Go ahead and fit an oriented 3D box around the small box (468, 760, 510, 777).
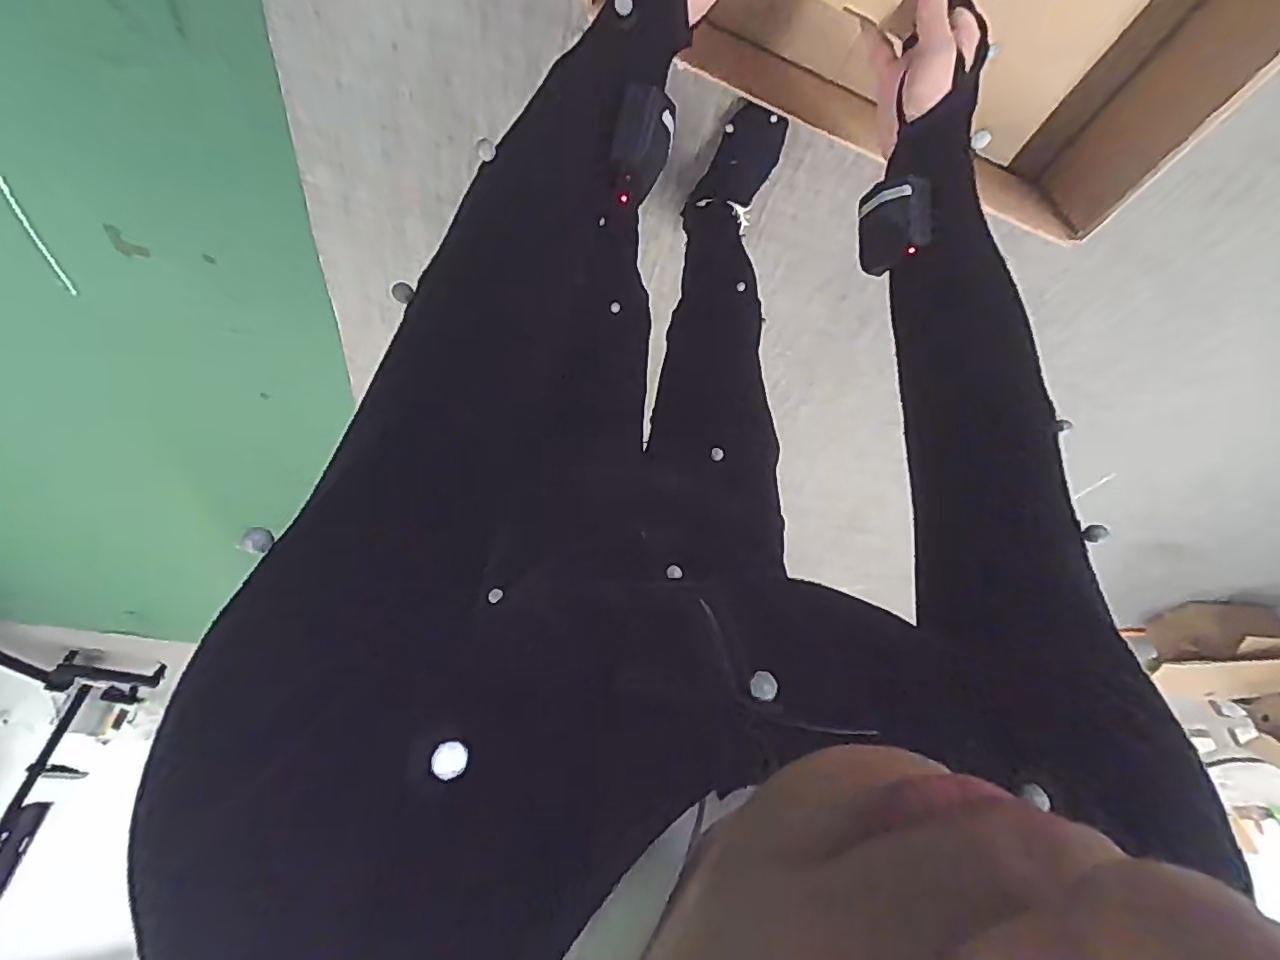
[{"bbox_3d":[-0.611,1.117,2.237,0.168,0.176,0.179,10,143,-9],"label":"small box"}]
